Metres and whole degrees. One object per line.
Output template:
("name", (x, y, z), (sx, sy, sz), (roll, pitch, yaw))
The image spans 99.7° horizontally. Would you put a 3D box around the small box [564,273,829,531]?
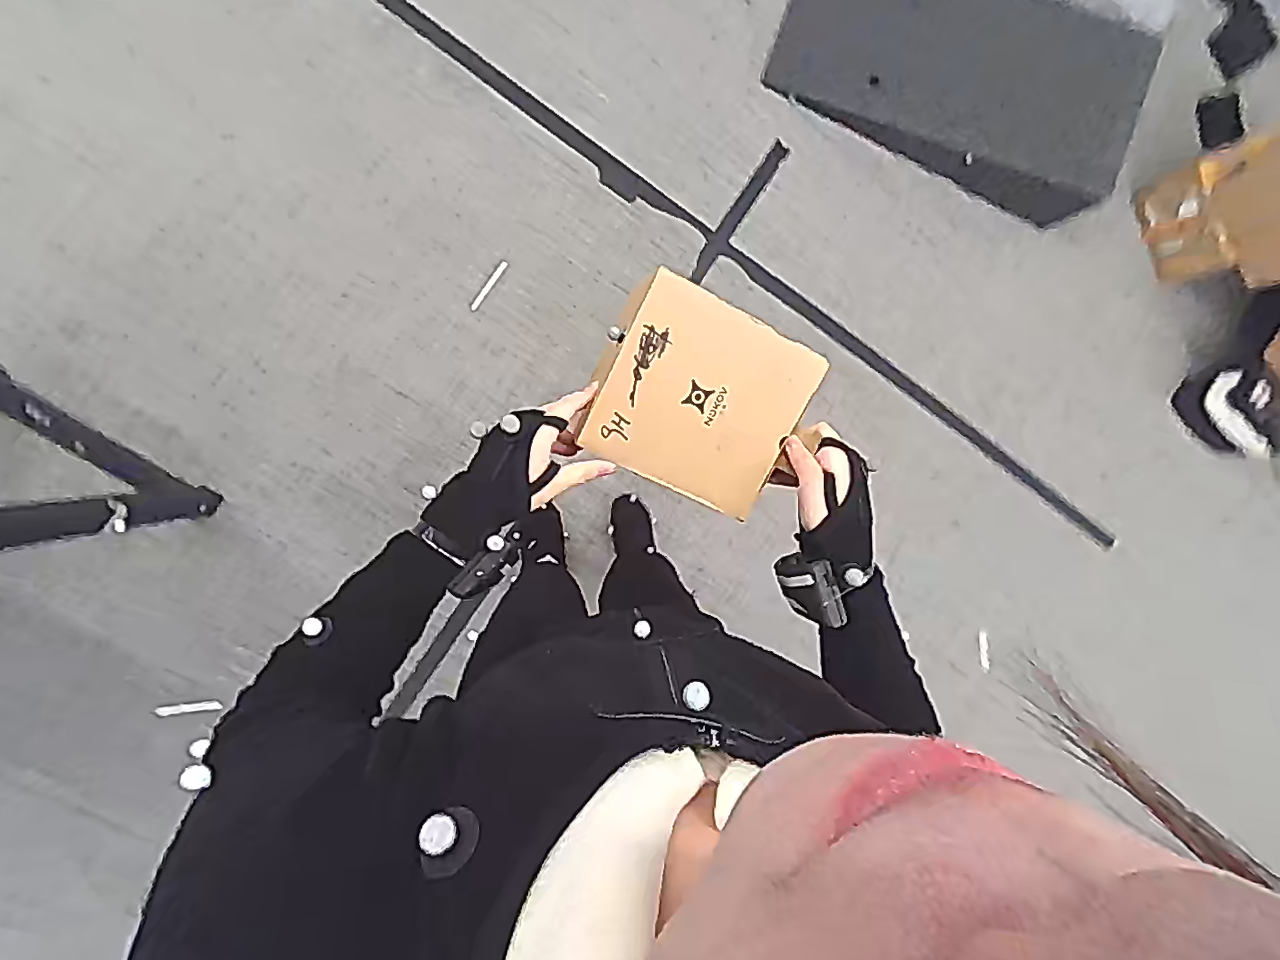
("small box", (0.039, -0.078, 0.531), (0.179, 0.176, 0.168), (25, 97, -15))
